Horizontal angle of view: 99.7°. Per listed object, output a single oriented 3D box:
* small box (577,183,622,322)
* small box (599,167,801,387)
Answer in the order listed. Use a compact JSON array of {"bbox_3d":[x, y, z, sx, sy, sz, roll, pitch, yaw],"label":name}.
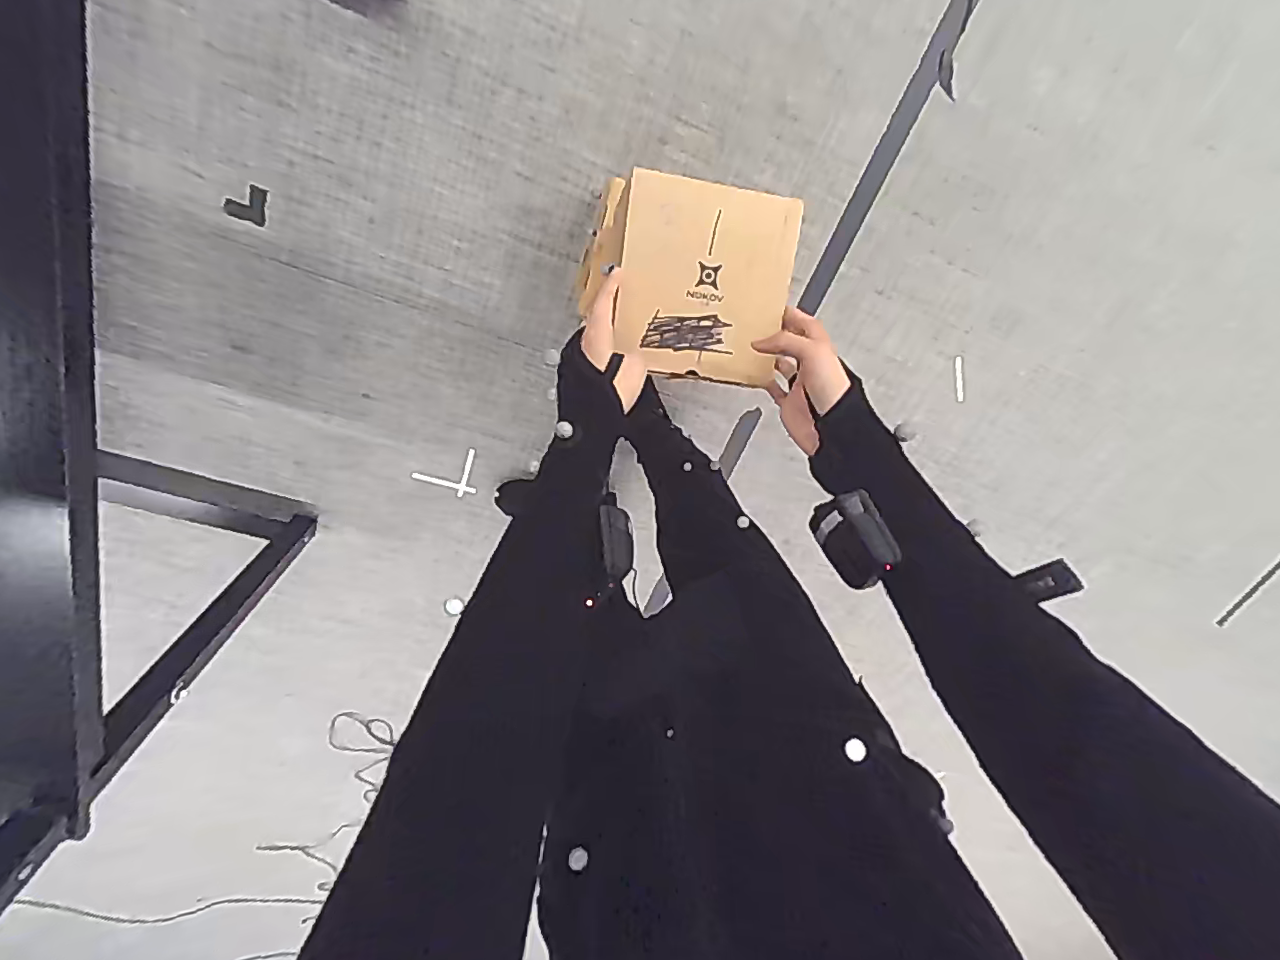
[{"bbox_3d":[0.017,-0.302,0.762,0.179,0.176,0.168,14,114,-12],"label":"small box"},{"bbox_3d":[0.048,-0.205,0.582,0.168,0.176,0.179,5,104,-9],"label":"small box"}]
